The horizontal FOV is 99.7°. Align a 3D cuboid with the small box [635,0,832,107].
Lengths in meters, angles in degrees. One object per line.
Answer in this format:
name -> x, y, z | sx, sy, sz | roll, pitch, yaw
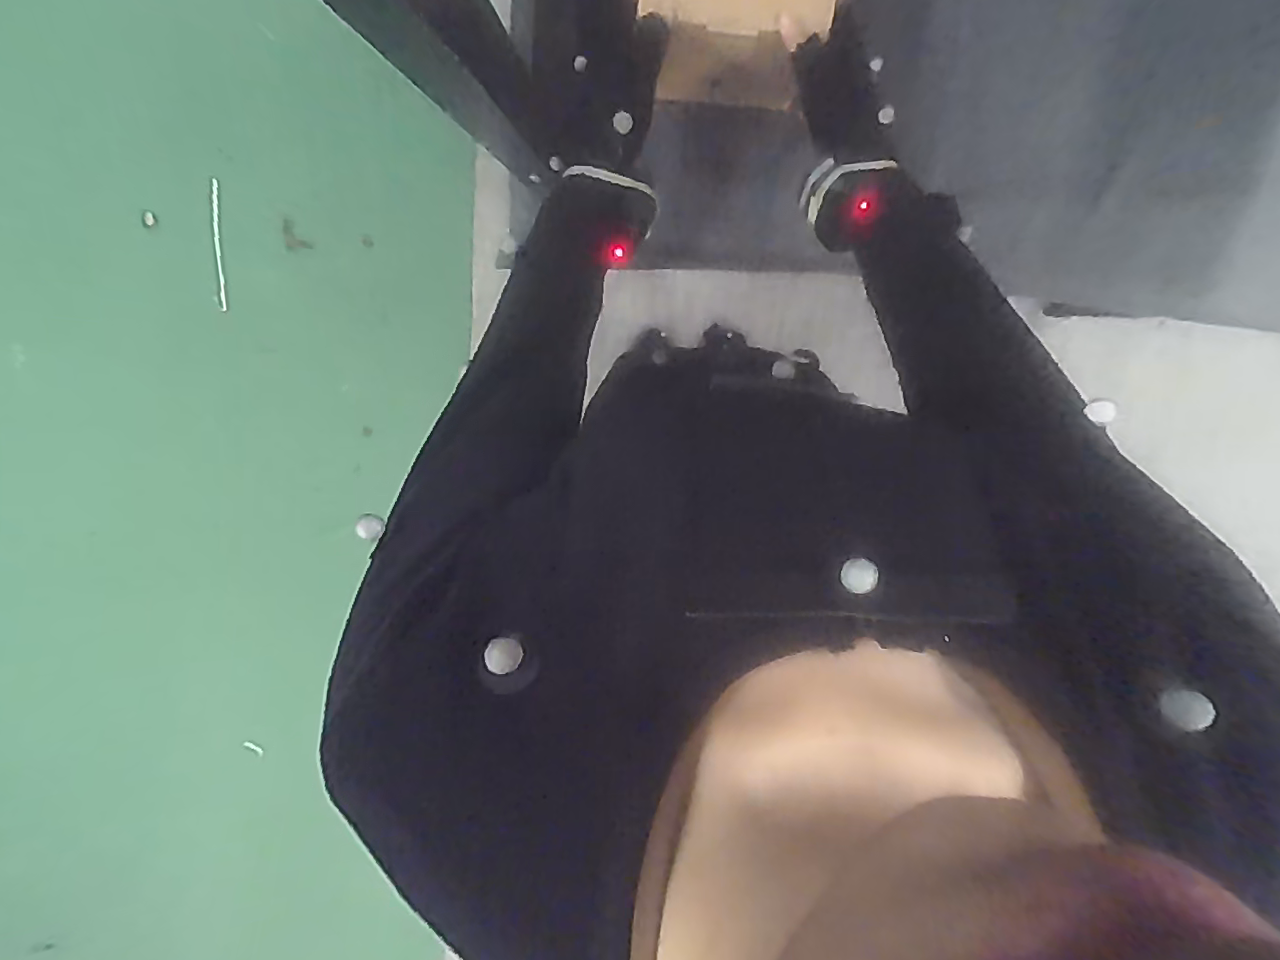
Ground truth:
small box -> 0.087, -0.487, 0.506 | 0.168, 0.176, 0.179 | 6, 107, 2
